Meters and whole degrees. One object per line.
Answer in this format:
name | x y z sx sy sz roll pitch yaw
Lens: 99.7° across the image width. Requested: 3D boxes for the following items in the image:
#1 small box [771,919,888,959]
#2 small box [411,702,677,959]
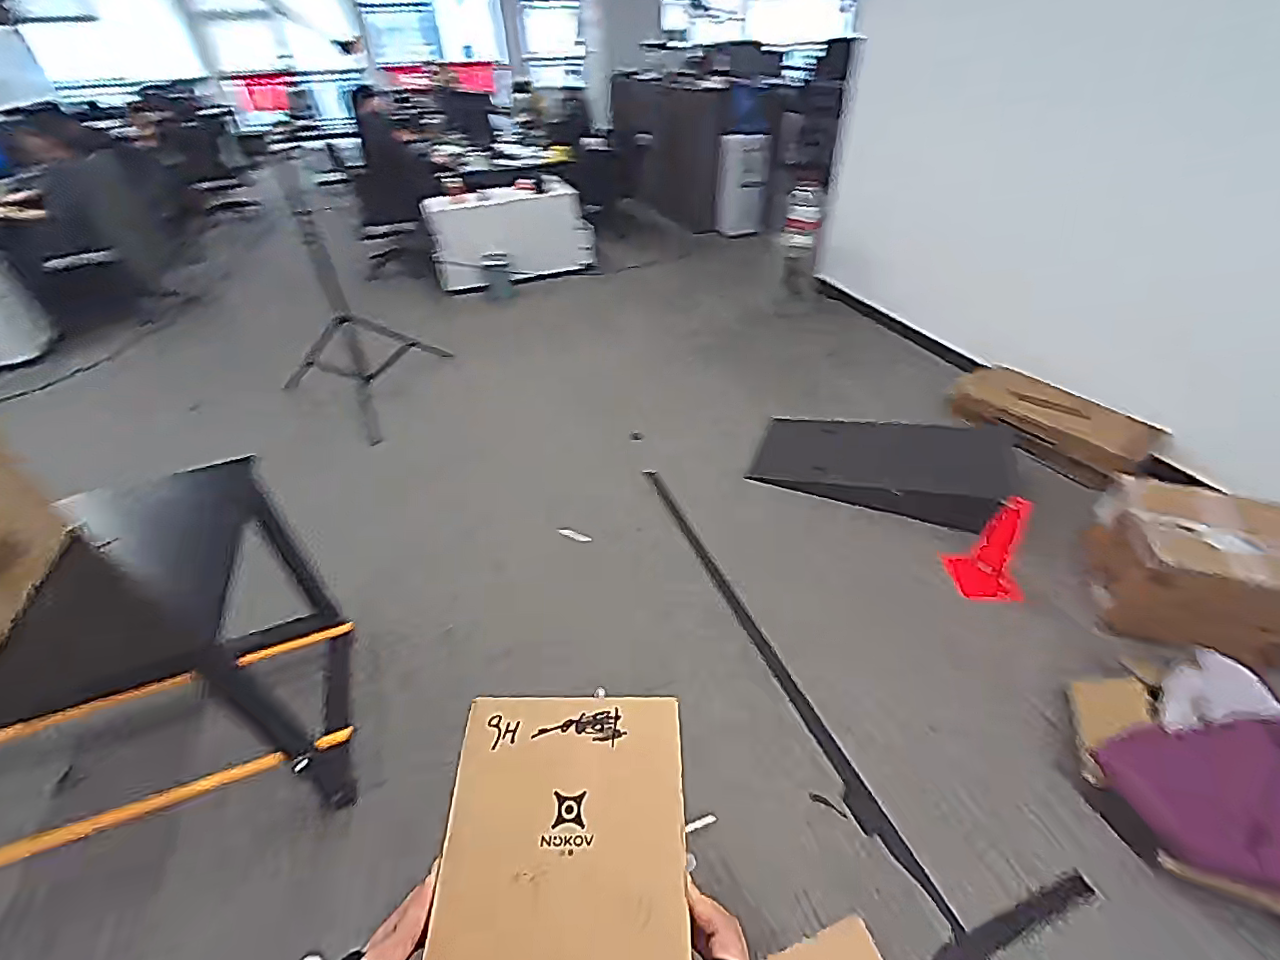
small box | 0.282 0.779 0.778 0.179 0.176 0.168 -14 40 -12
small box | -0.059 0.293 0.429 0.168 0.176 0.179 -1 50 -2
